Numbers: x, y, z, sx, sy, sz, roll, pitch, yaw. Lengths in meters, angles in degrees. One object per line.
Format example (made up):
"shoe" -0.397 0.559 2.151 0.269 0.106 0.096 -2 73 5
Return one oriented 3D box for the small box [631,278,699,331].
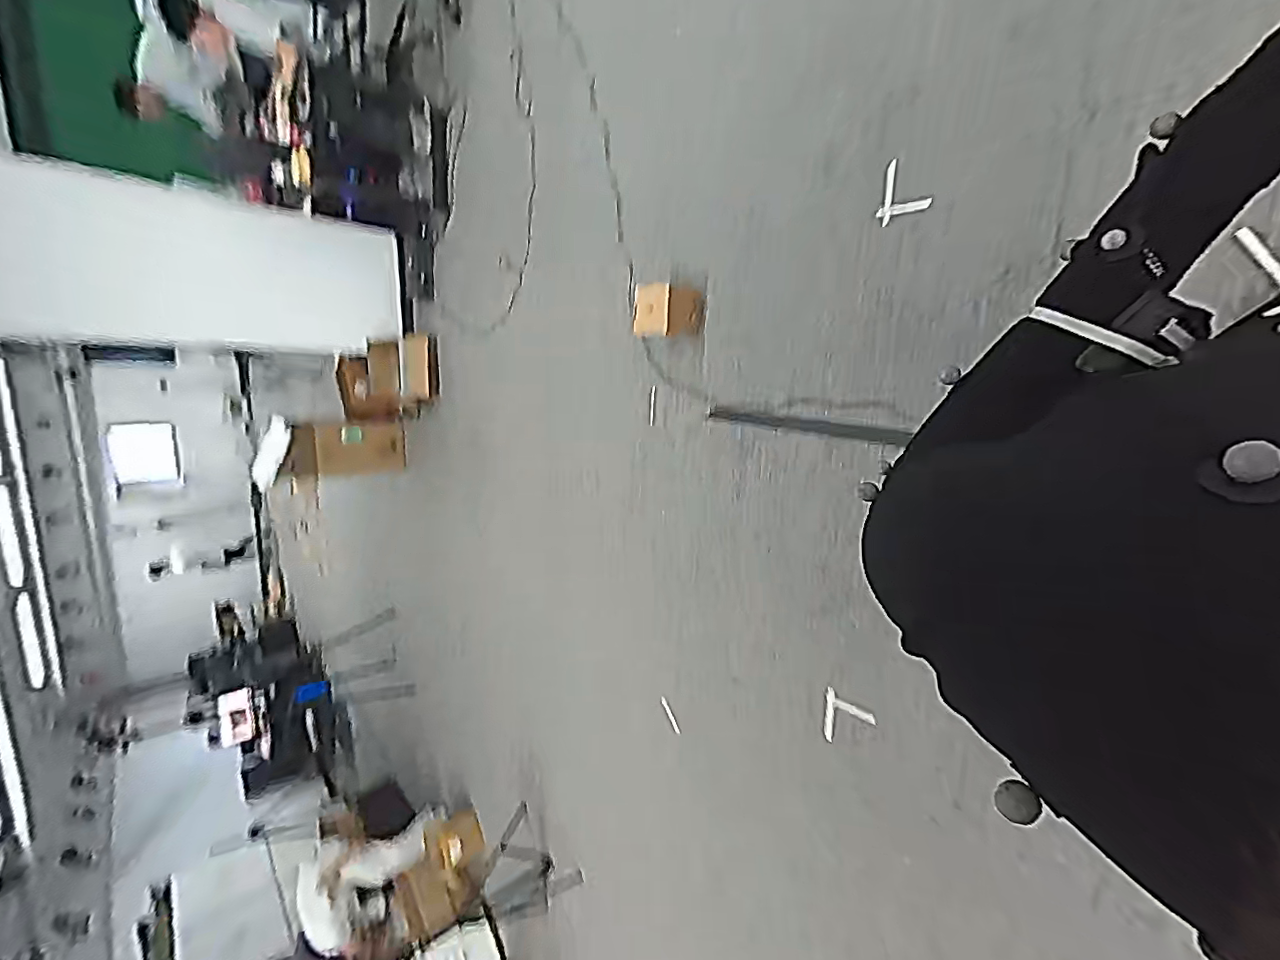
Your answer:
"small box" 0.089 -0.631 1.959 0.179 0.176 0.168 16 109 44
